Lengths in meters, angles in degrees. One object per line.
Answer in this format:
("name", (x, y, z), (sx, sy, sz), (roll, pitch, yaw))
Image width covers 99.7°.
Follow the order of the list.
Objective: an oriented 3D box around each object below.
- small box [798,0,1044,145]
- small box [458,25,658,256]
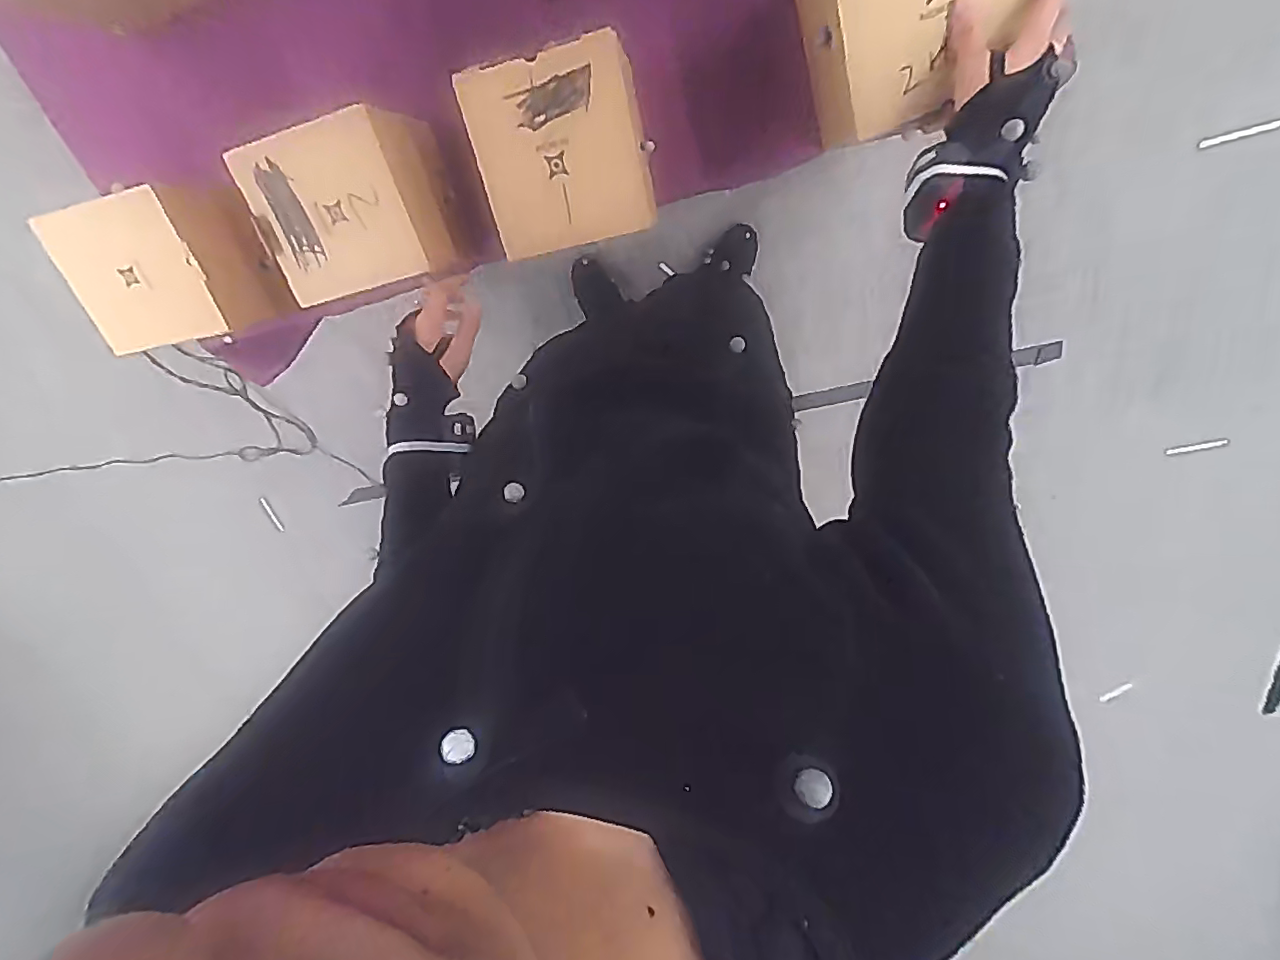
("small box", (0.263, -0.460, 0.536), (0.168, 0.176, 0.179), (-15, 116, 15))
("small box", (-0.076, -0.371, 0.617), (0.168, 0.176, 0.179), (-8, 119, 10))
